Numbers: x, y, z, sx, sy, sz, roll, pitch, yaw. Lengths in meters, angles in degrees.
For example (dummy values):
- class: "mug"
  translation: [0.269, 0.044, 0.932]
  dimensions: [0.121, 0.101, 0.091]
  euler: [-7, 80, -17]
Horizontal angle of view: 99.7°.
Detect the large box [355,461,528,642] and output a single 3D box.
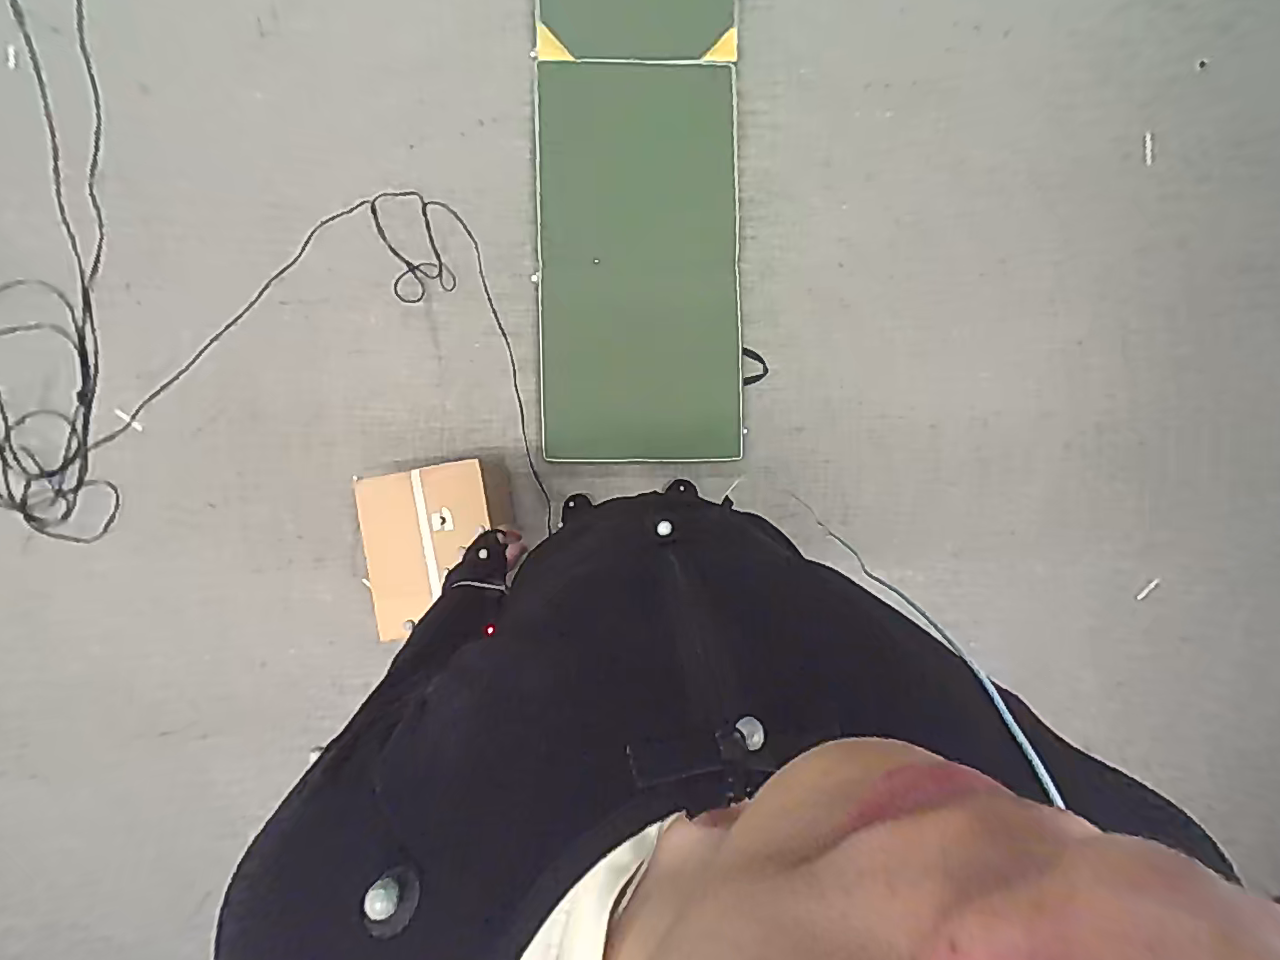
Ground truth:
- class: "large box"
  translation: [-0.518, 0.181, 1.479]
  dimensions: [0.320, 0.320, 0.408]
  euler: [-10, 88, -2]
